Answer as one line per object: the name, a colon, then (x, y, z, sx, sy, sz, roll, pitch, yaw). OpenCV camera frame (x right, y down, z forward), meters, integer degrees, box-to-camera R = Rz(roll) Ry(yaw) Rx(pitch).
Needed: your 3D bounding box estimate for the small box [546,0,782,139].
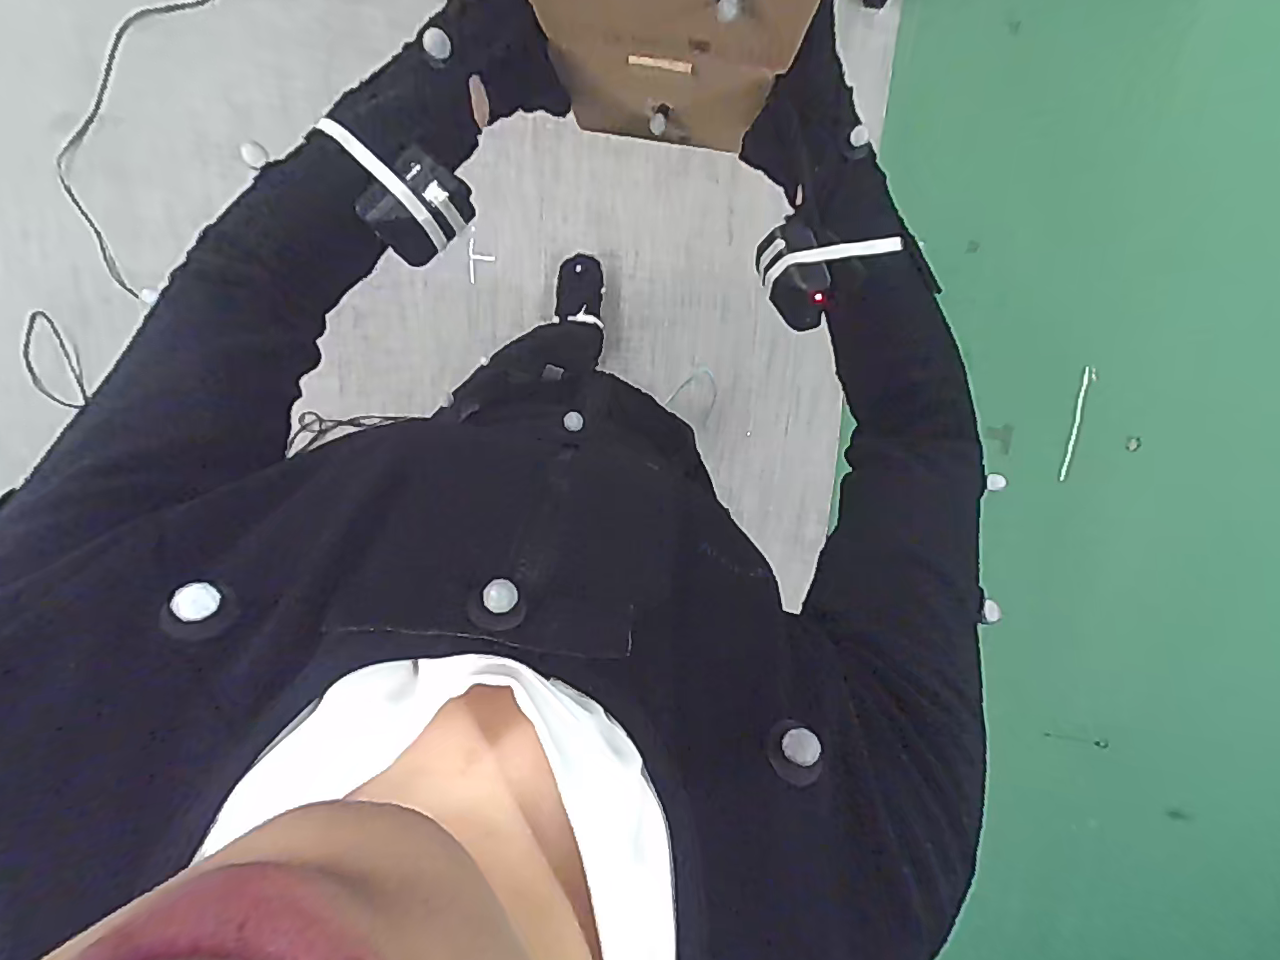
small box: (0.031, -0.395, 0.423, 0.168, 0.176, 0.179, 7, 105, 2)

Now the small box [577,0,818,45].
small box: (0.031, -0.345, 0.247, 0.168, 0.176, 0.179, 9, 106, 0)
